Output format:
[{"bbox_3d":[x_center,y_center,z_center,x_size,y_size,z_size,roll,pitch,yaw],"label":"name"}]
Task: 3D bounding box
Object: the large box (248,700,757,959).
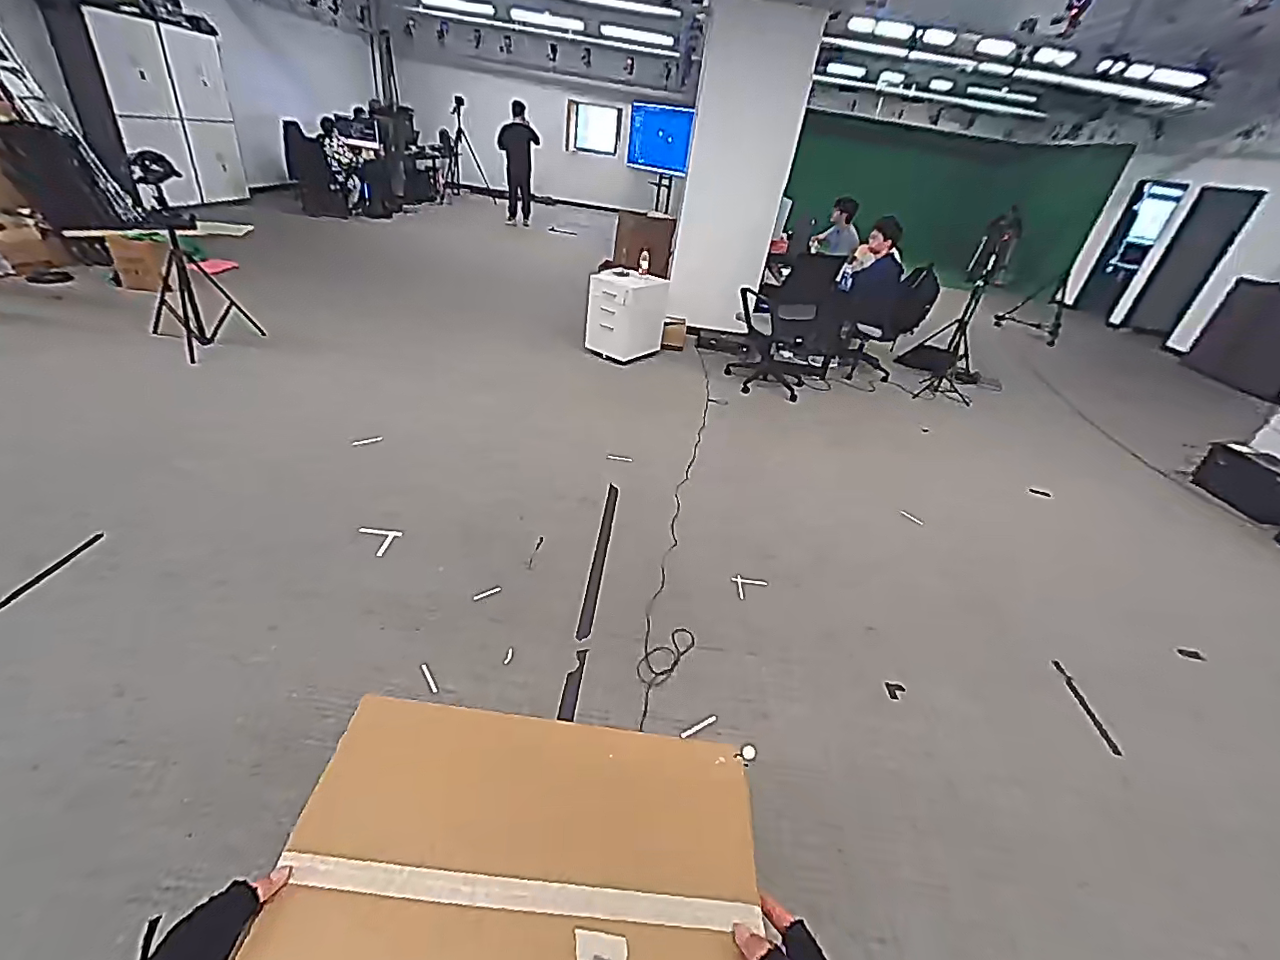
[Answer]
[{"bbox_3d":[-0.123,0.472,0.551,0.408,0.320,0.320,10,35,-4],"label":"large box"}]
